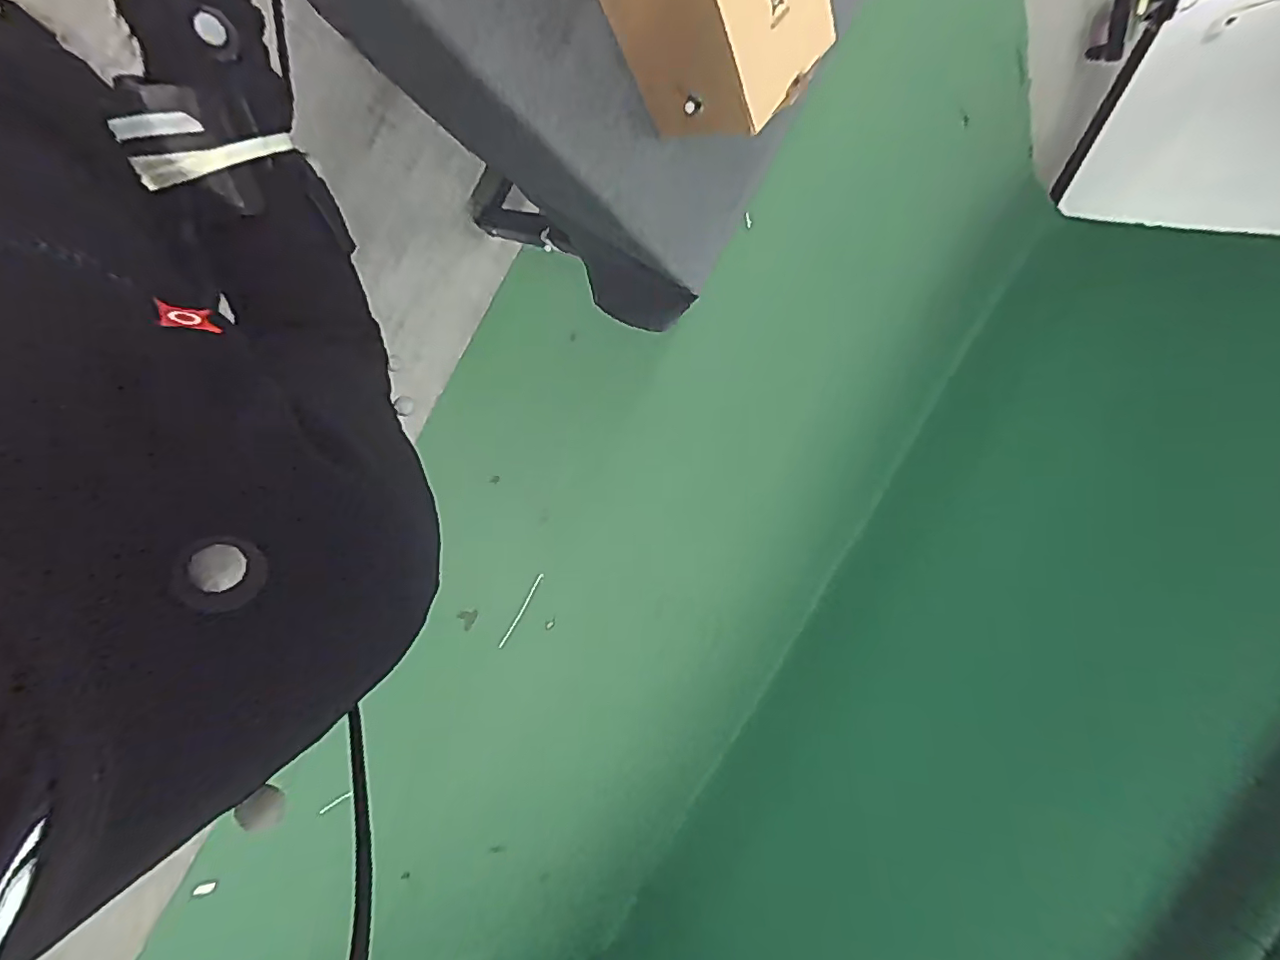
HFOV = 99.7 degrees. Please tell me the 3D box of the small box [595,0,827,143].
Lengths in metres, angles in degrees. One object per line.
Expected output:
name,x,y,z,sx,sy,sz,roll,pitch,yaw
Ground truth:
small box,0.083,-0.526,0.624,0.168,0.176,0.179,-52,138,-9
